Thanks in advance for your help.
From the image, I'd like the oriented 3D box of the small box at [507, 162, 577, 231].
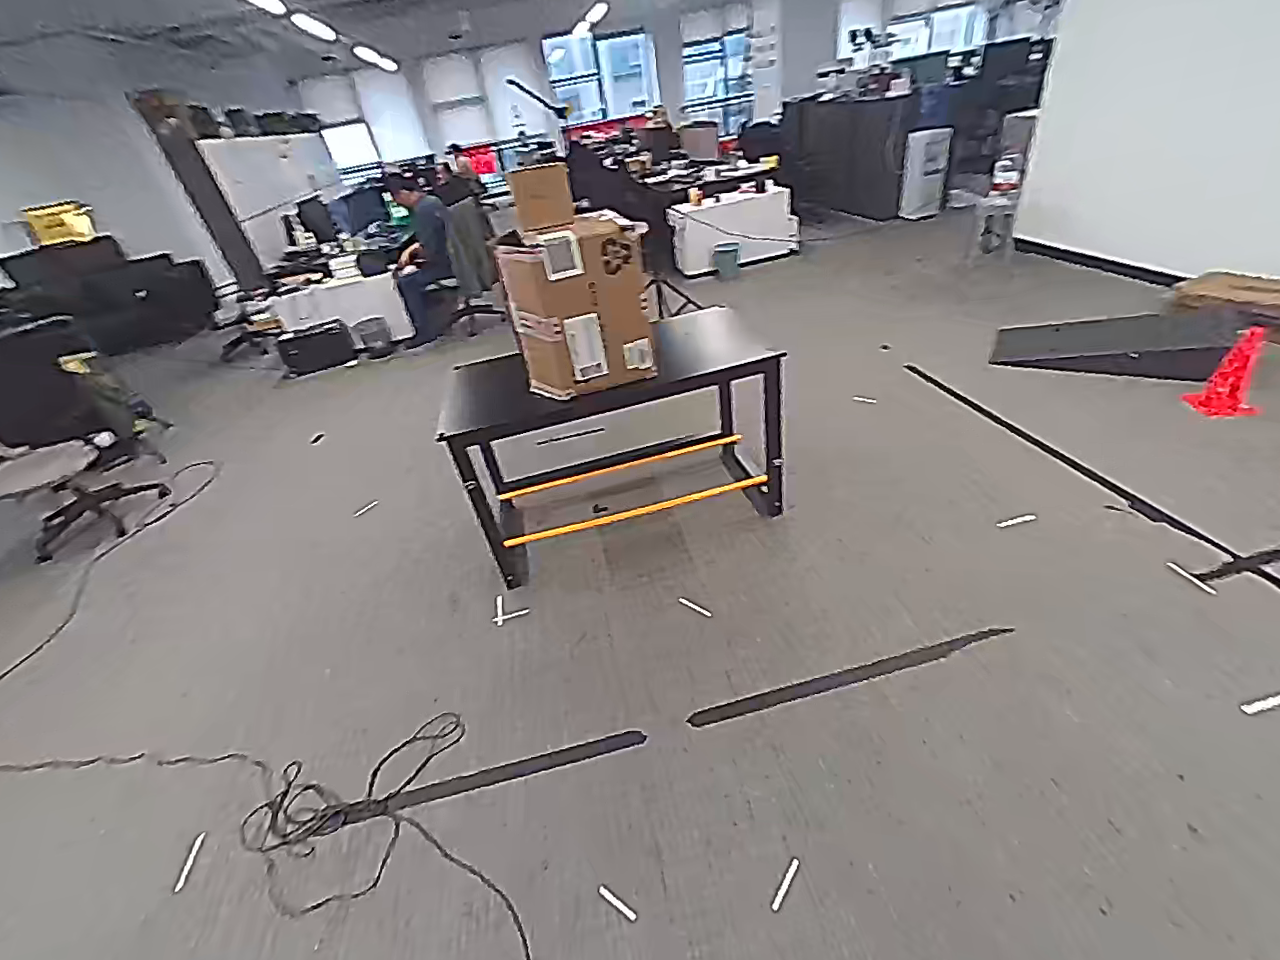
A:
[{"bbox_3d":[-0.317,-0.910,1.738,0.179,0.176,0.168,-16,33,-9],"label":"small box"}]
